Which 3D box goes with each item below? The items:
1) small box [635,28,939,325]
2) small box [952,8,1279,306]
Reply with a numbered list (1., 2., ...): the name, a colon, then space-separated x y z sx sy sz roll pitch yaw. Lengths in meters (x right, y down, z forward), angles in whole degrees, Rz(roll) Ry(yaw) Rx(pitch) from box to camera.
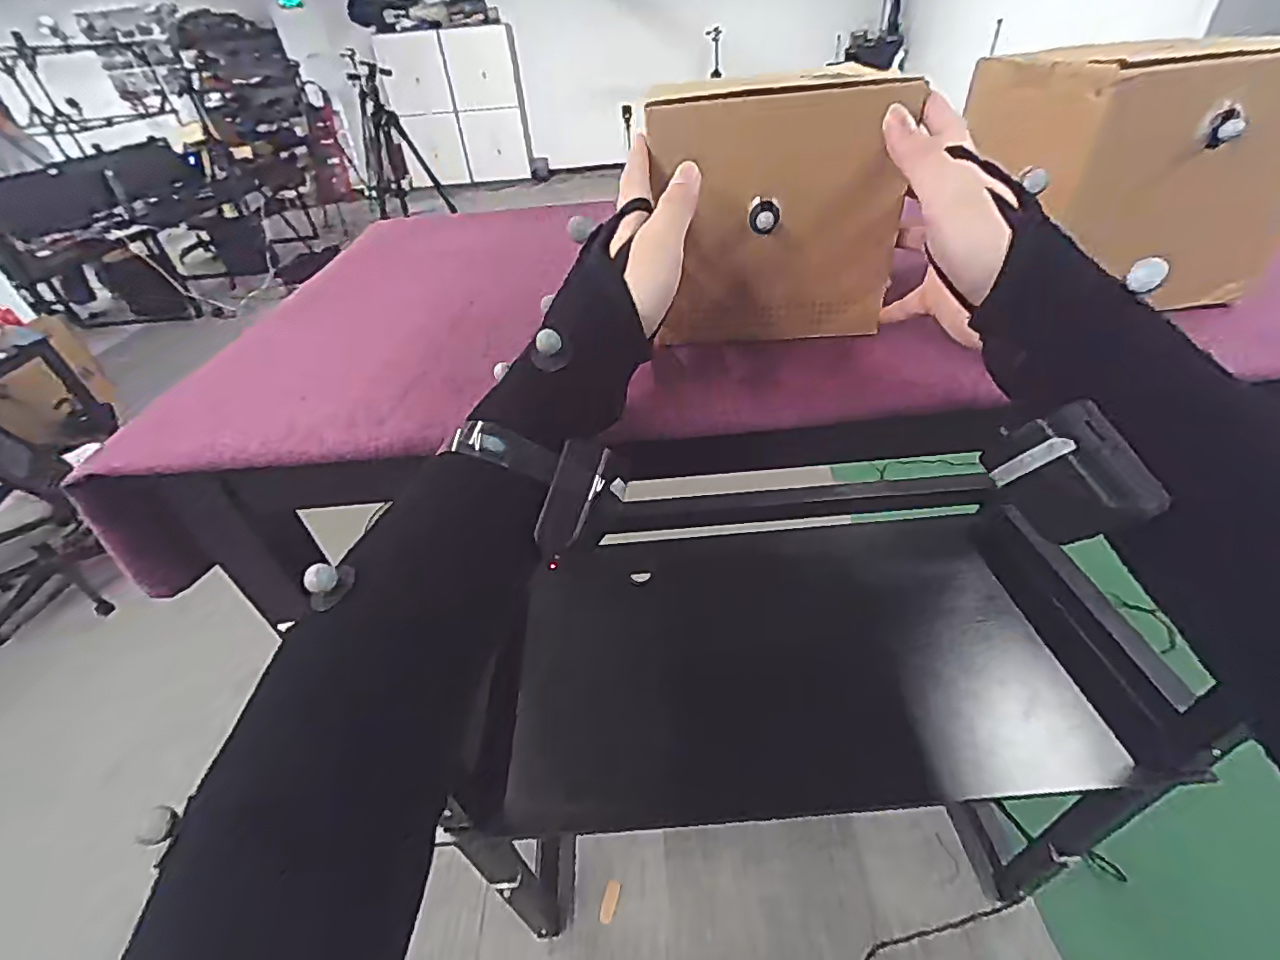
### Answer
1. small box: 0.092 -0.233 0.421 0.179 0.176 0.168 -1 41 5
2. small box: 0.368 -0.241 0.410 0.179 0.176 0.168 -2 40 1
